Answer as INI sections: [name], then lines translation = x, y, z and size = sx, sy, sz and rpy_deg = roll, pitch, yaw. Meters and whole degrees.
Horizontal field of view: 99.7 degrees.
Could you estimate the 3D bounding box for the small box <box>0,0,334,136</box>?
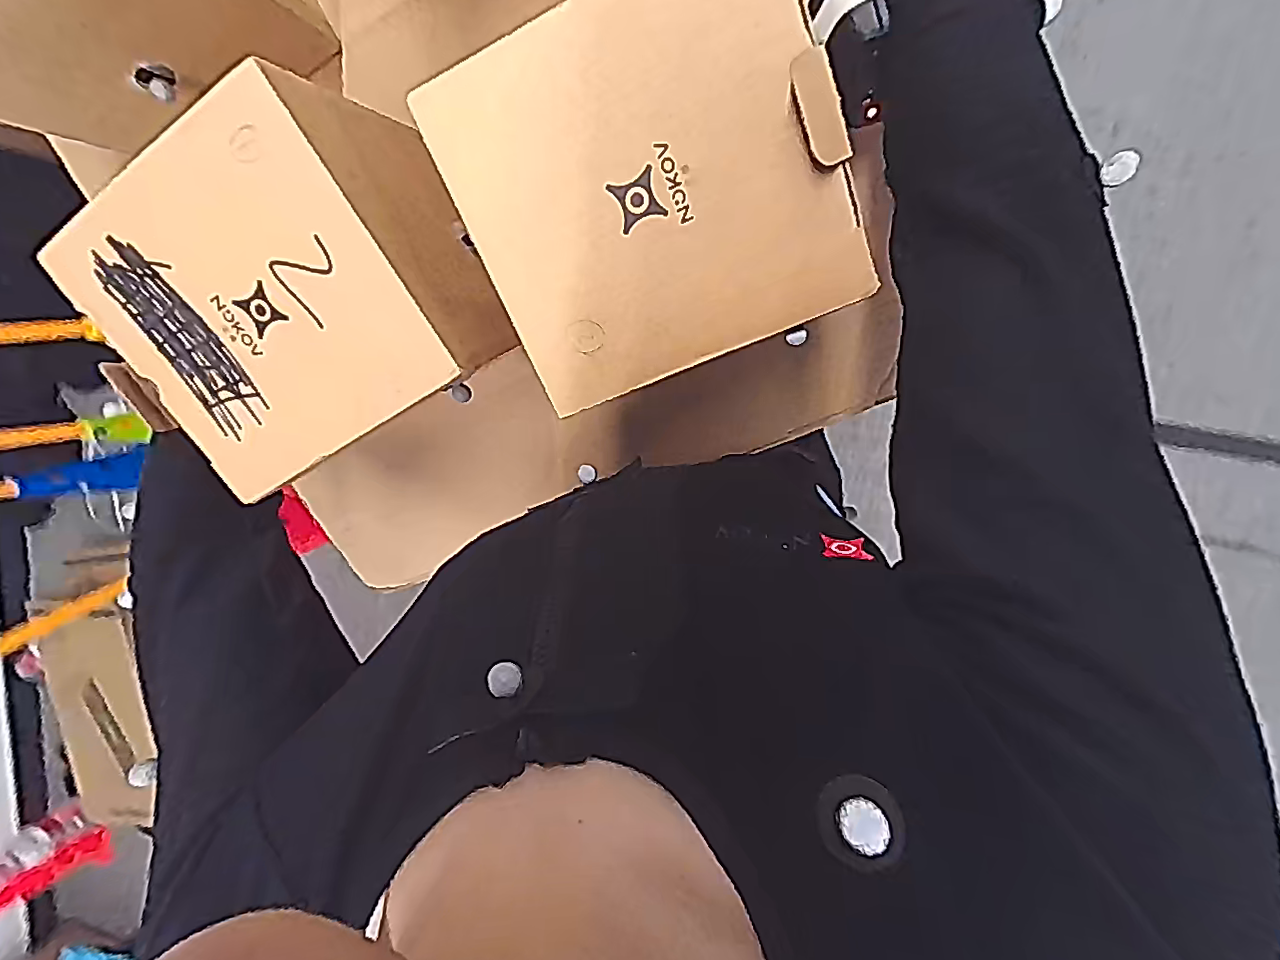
[small box]
translation = -0.324, -0.330, 0.307
size = 0.168, 0.176, 0.179
rpy_deg = -22, 104, 13
